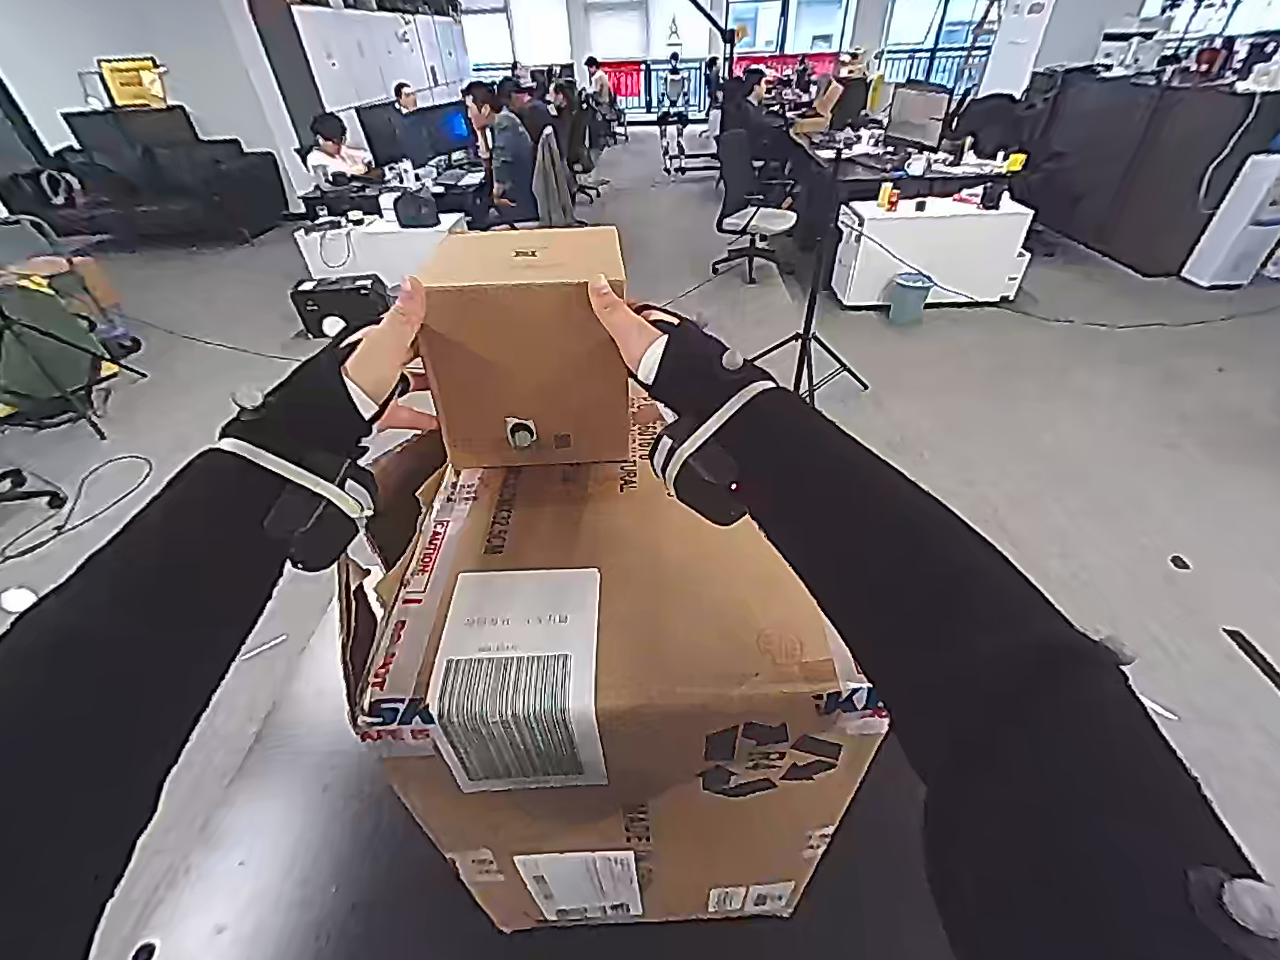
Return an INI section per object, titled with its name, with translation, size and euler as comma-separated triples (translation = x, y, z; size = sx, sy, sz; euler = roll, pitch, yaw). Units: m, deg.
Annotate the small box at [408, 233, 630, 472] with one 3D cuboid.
[small box]
translation = -0.097, -0.126, 0.519
size = 0.168, 0.176, 0.179
euler = -4, 38, -3
